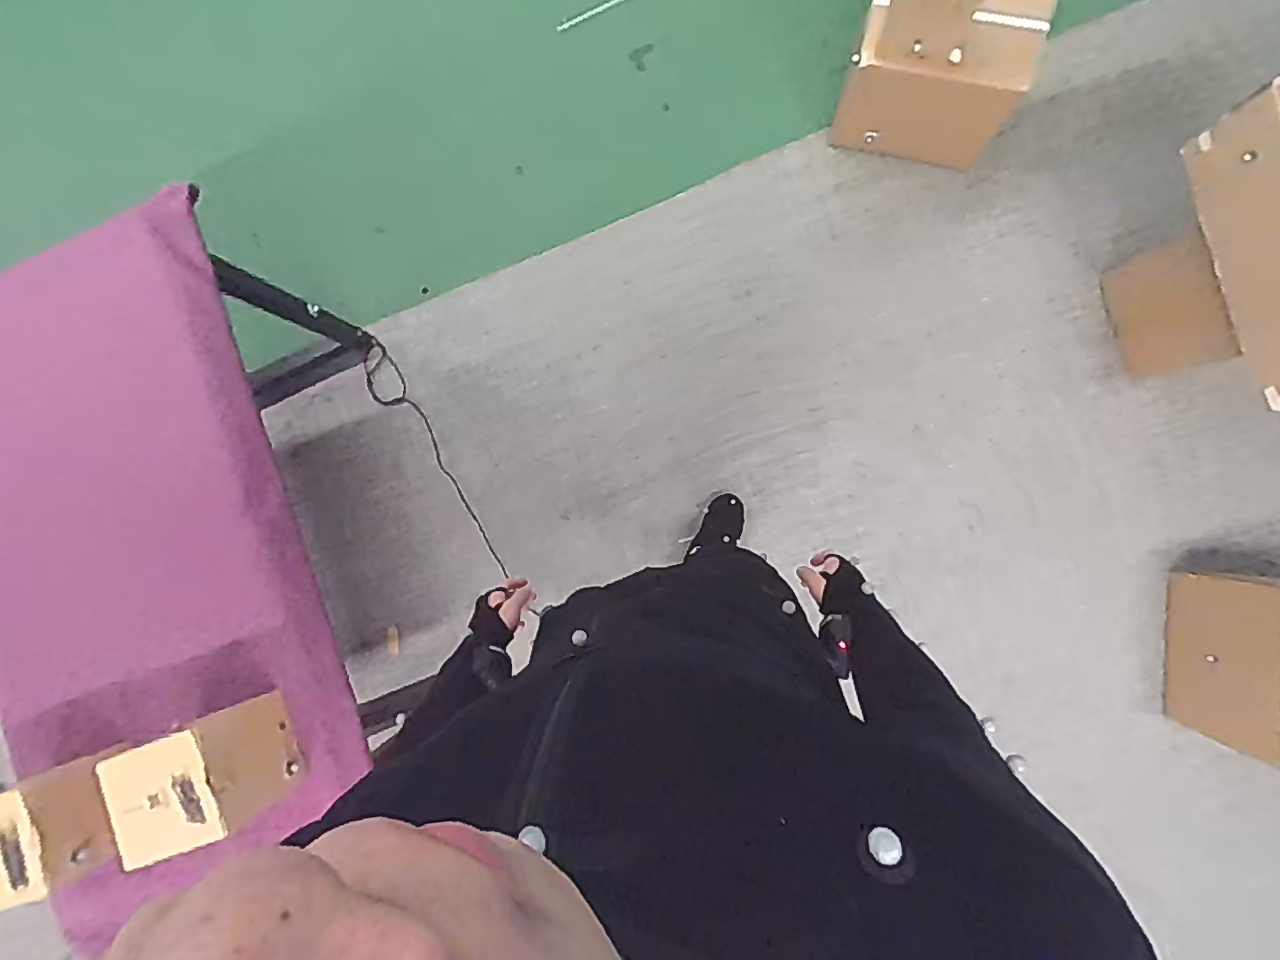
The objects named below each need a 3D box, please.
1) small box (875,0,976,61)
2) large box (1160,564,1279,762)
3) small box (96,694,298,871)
[{"bbox_3d":[0.644,-1.090,1.199,0.168,0.176,0.179,14,91,6],"label":"small box"},{"bbox_3d":[1.559,0.429,1.316,0.320,0.320,0.408,2,88,5],"label":"large box"},{"bbox_3d":[-0.691,0.470,0.869,0.179,0.176,0.168,-22,86,6],"label":"small box"}]
